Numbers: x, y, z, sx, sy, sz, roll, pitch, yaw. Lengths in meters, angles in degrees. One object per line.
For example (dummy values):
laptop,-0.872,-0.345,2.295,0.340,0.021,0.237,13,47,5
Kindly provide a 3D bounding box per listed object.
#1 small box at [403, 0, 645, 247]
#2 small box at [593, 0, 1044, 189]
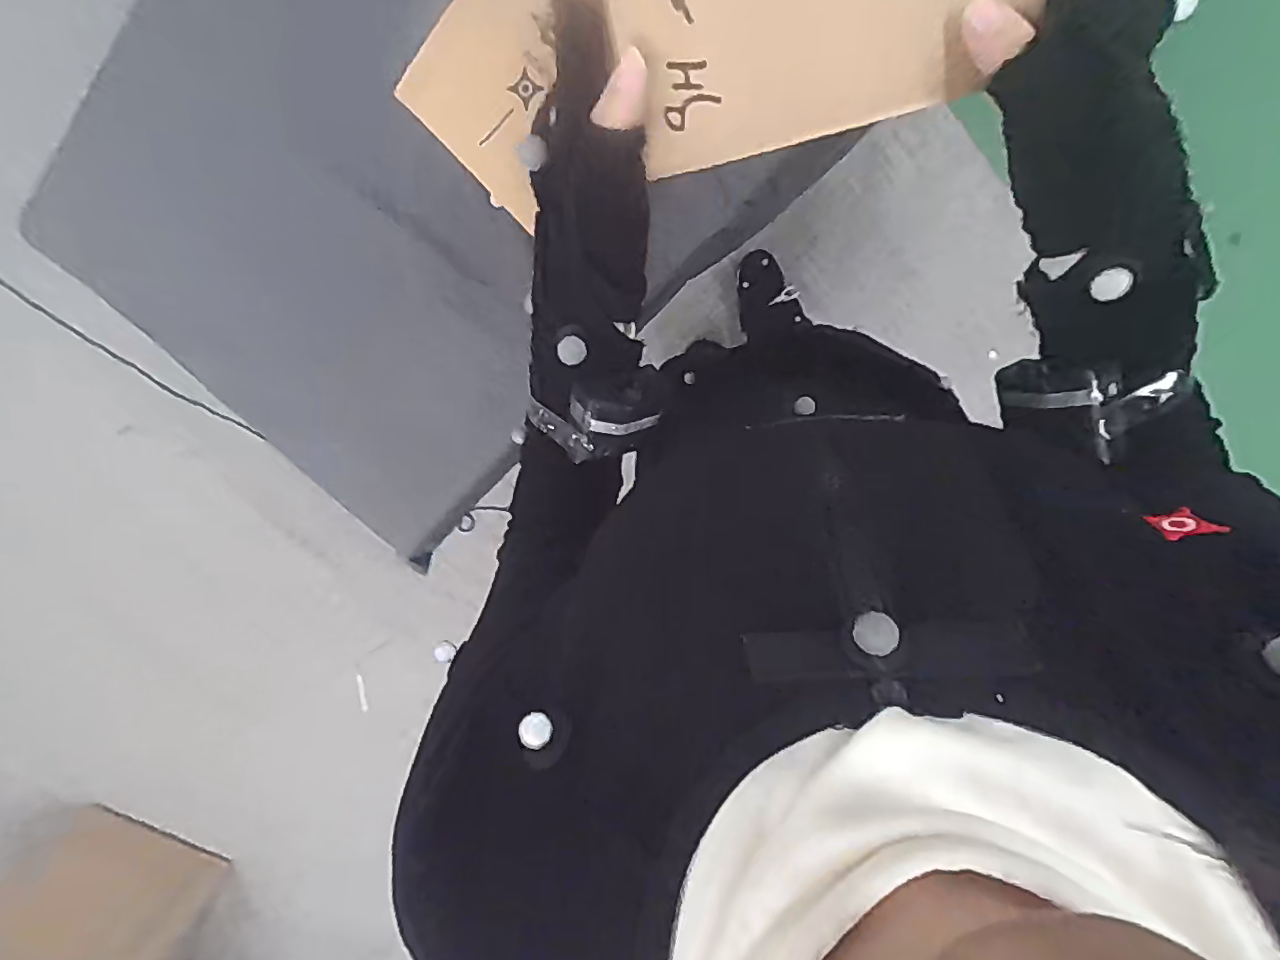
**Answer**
small box,-0.075,-0.350,0.511,0.168,0.176,0.179,44,107,-9
small box,0.061,-0.266,0.255,0.179,0.176,0.168,-14,129,6
